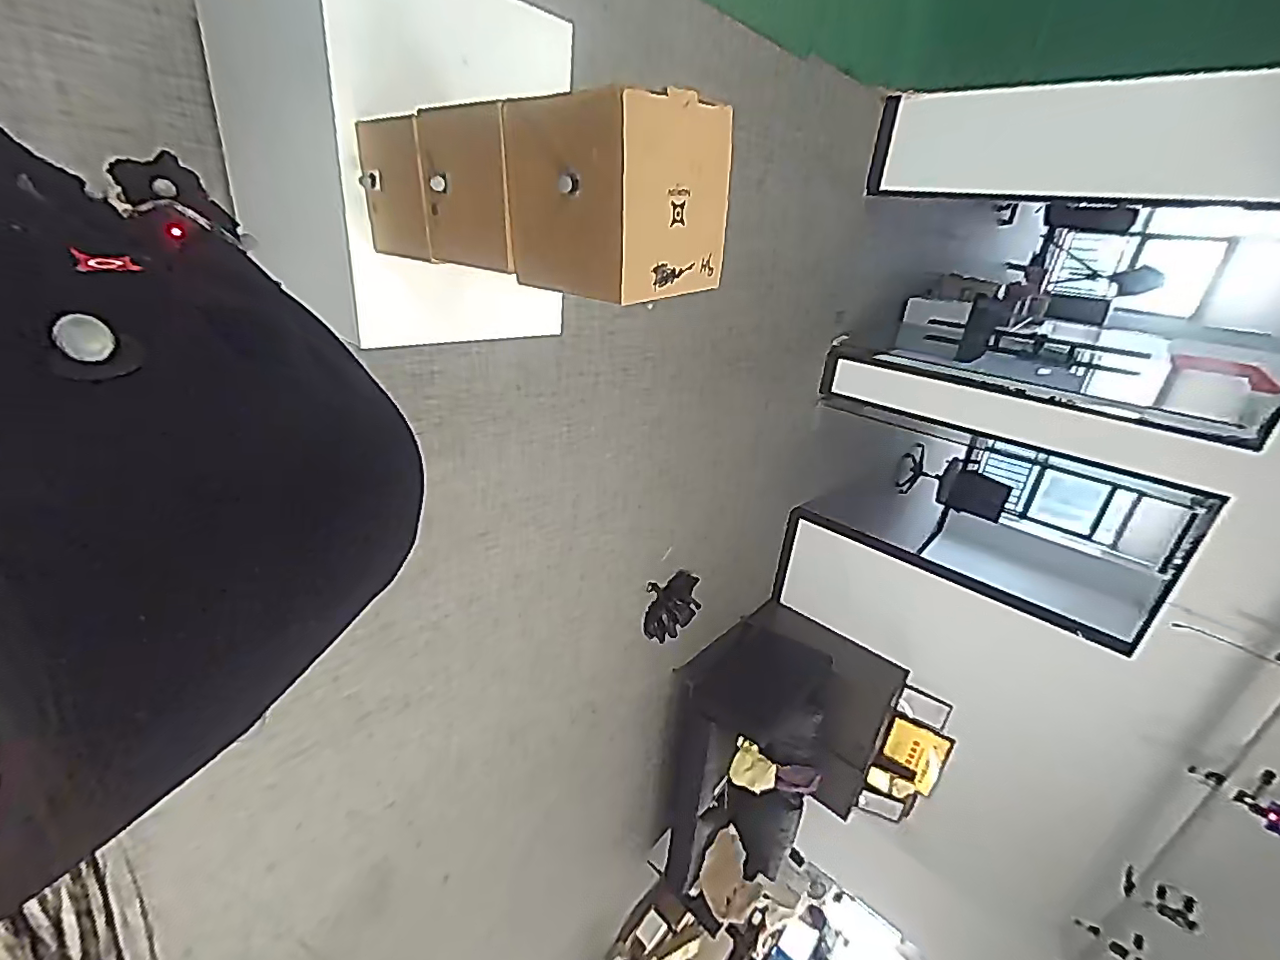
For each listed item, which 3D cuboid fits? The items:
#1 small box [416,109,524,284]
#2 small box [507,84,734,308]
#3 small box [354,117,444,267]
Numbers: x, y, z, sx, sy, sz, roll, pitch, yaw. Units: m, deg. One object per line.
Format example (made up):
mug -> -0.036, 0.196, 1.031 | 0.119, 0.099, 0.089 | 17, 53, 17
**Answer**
small box -> -0.142, -0.345, 0.662 | 0.179, 0.176, 0.168 | -28, 131, -41
small box -> -0.023, -0.288, 0.565 | 0.168, 0.176, 0.179 | -26, 128, -40
small box -> -0.265, -0.397, 0.756 | 0.179, 0.176, 0.168 | -24, 127, -40
